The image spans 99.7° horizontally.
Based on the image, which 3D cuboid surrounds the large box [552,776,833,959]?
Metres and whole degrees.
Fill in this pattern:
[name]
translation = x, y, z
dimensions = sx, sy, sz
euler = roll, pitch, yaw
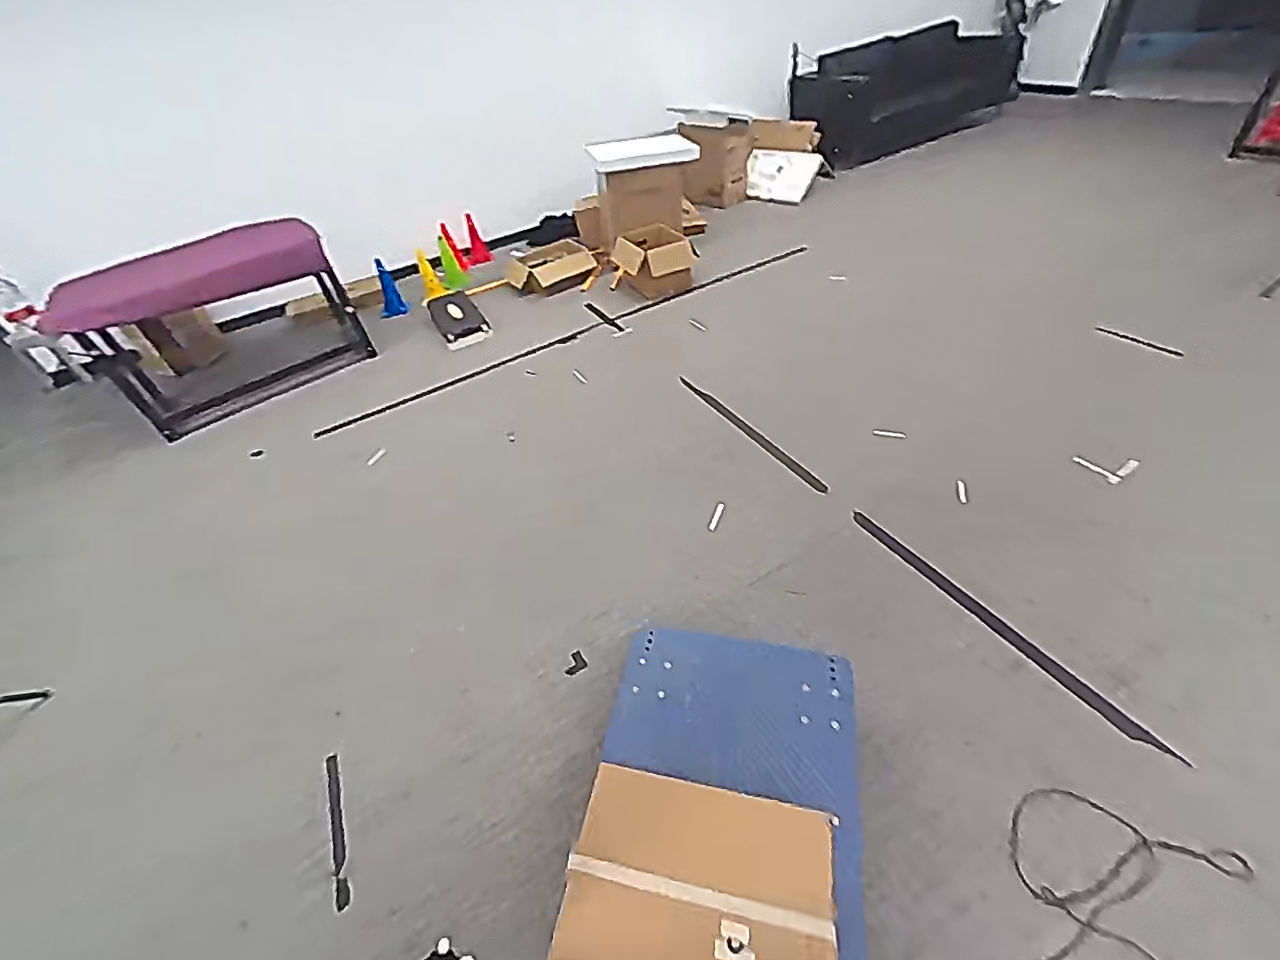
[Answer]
[large box]
translation = 0.099, 0.760, 0.926
dimensions = 0.408, 0.320, 0.320
euler = 5, 45, 14
